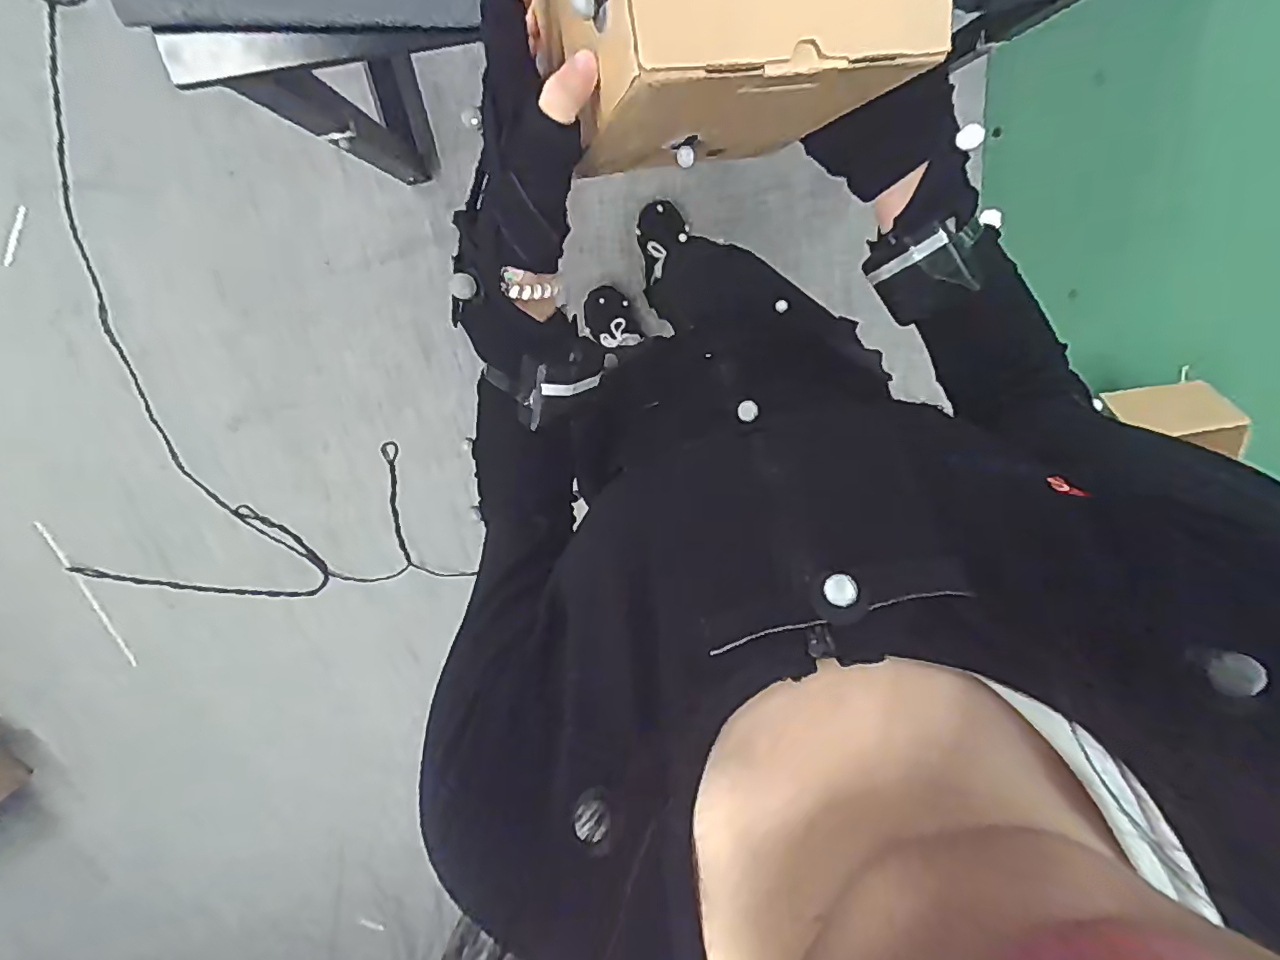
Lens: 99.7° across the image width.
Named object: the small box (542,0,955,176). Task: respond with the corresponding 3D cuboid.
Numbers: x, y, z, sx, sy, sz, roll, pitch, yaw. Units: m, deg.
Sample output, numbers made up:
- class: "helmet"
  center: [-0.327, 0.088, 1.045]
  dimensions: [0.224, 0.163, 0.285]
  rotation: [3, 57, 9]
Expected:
- class: "small box"
  center: [0.039, -0.289, 0.294]
  dimensions: [0.168, 0.176, 0.179]
  rotation: [-15, 110, -15]
